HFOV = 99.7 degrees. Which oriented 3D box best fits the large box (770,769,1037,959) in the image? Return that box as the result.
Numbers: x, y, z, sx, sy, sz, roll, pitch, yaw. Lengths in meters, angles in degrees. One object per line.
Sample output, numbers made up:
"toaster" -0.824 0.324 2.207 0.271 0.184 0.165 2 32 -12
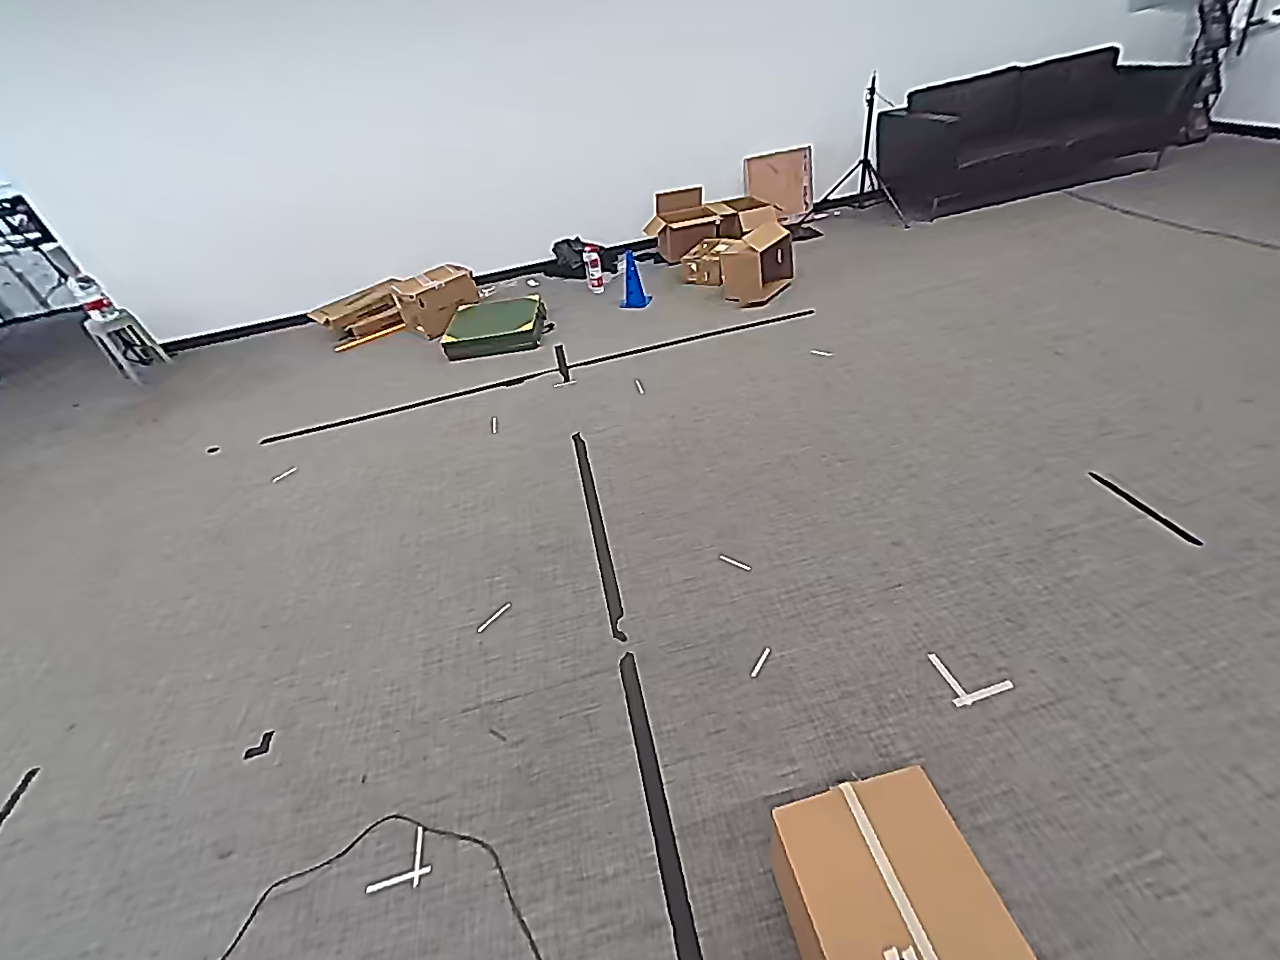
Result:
"large box" 0.467 0.836 0.999 0.320 0.320 0.408 -15 40 -4
